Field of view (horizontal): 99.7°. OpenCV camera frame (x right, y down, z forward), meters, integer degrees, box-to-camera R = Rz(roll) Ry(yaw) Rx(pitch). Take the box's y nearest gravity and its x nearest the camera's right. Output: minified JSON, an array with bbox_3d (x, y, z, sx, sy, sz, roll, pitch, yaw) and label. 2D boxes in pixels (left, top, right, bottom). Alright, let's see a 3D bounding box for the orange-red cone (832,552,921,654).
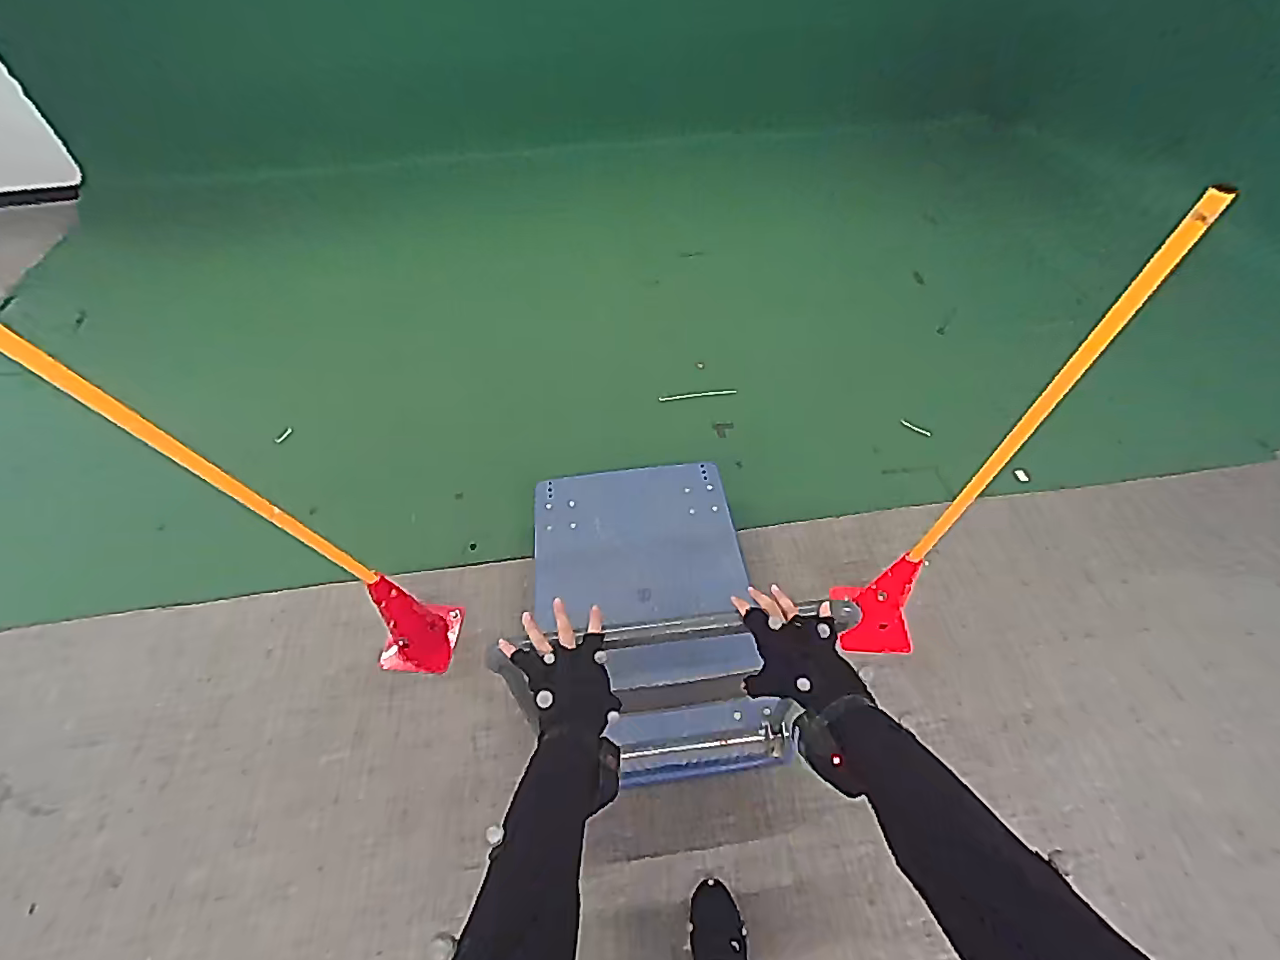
[{"bbox_3d":[0.659,0.298,1.425,0.198,0.360,0.199,2,52,4],"label":"orange-red cone"}]
